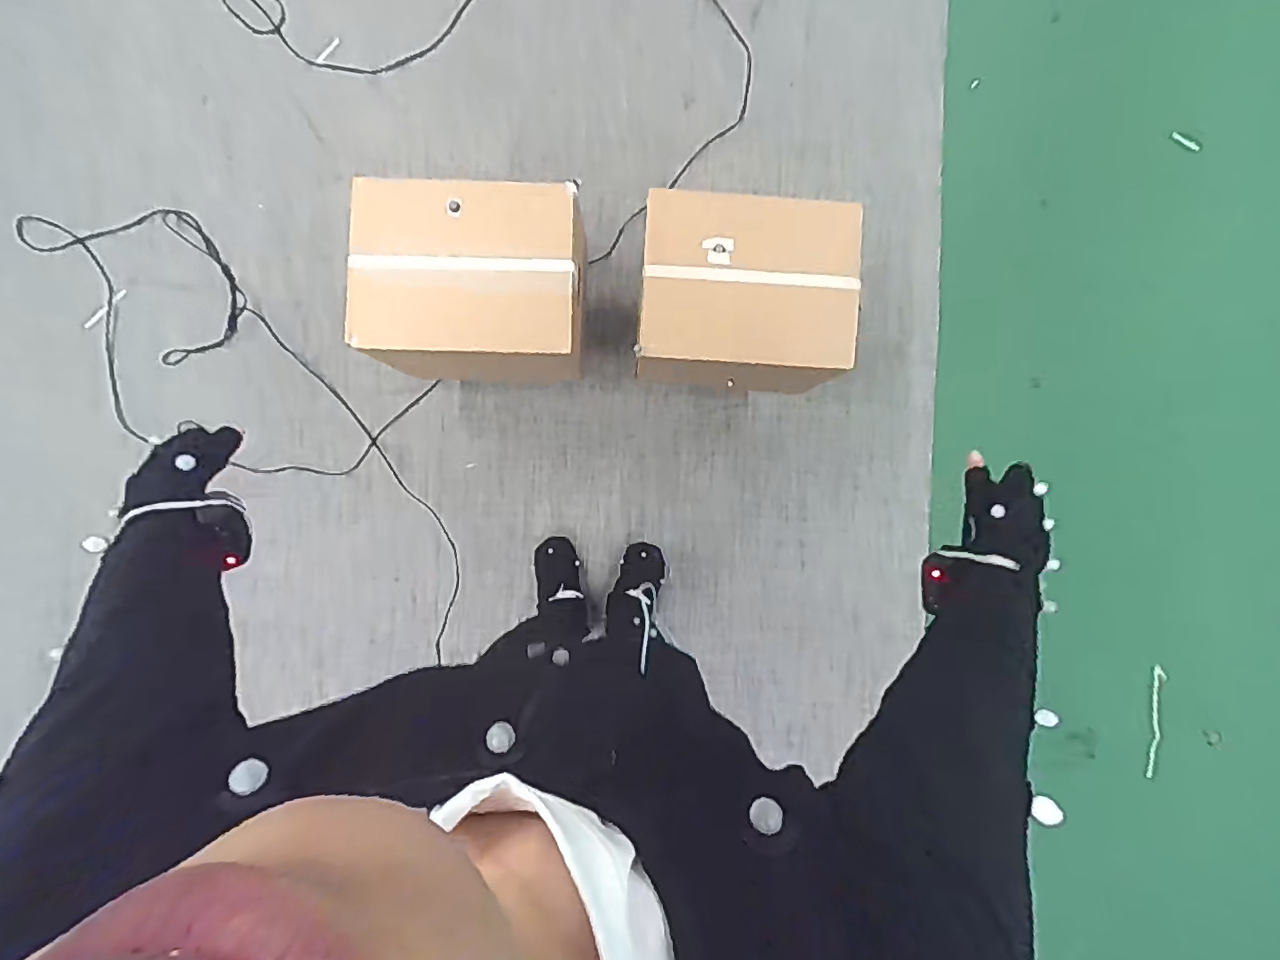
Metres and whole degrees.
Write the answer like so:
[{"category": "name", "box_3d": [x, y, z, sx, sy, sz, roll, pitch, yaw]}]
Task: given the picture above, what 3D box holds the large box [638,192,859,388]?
[{"category": "large box", "box_3d": [0.206, -0.379, 1.161, 0.408, 0.320, 0.320, 4, 90, -1]}]
